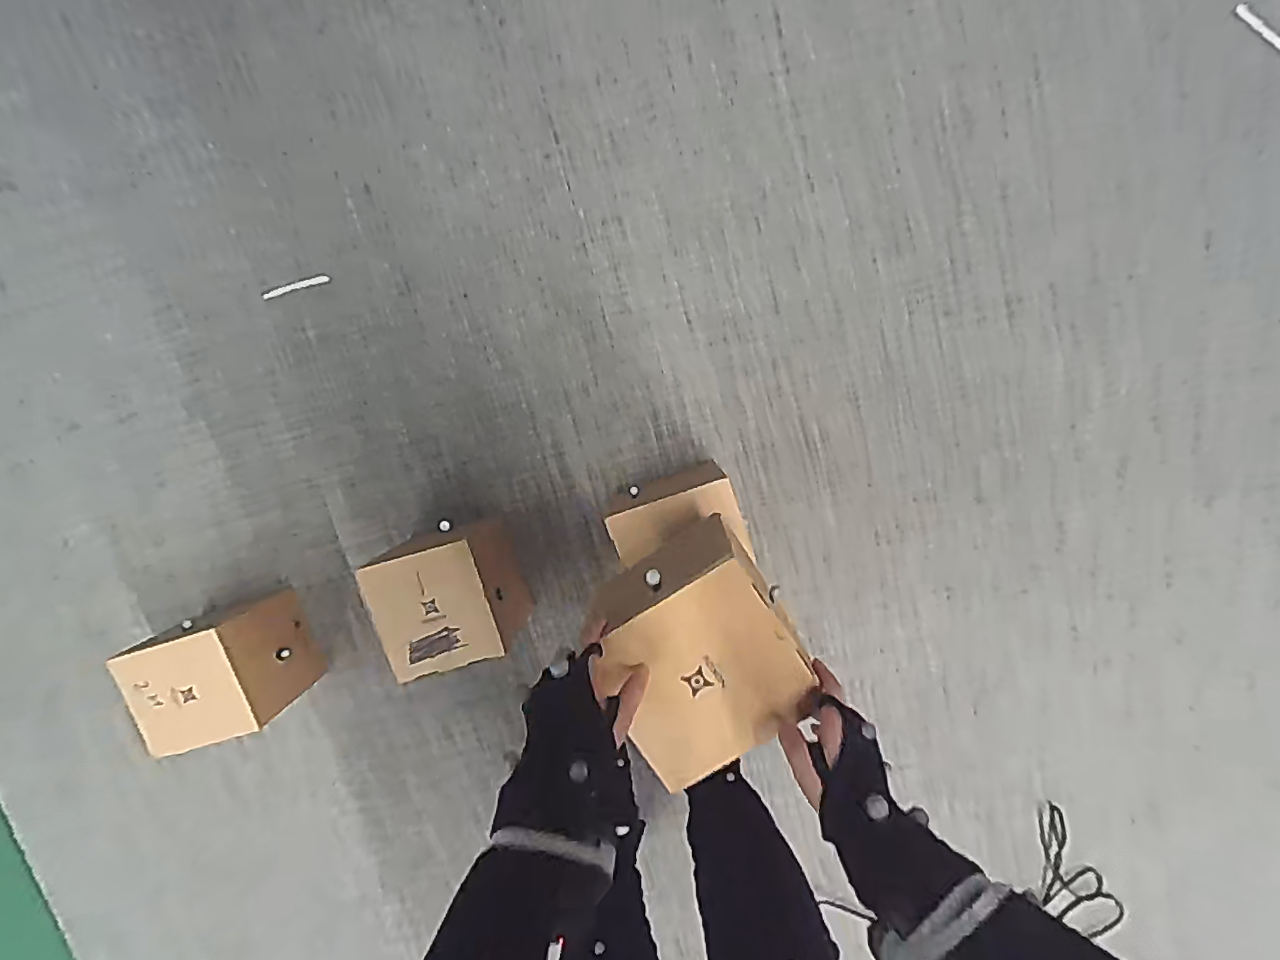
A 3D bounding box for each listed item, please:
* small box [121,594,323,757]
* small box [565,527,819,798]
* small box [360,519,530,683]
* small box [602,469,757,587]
[{"bbox_3d":[-0.650,0.303,0.872,0.179,0.176,0.168,-17,98,5],"label":"small box"},{"bbox_3d":[0.051,0.173,0.563,0.179,0.176,0.168,-34,96,8],"label":"small box"},{"bbox_3d":[-0.285,0.176,0.834,0.168,0.176,0.179,-16,98,5],"label":"small box"},{"bbox_3d":[0.058,0.093,0.806,0.179,0.176,0.168,-18,99,5],"label":"small box"}]
